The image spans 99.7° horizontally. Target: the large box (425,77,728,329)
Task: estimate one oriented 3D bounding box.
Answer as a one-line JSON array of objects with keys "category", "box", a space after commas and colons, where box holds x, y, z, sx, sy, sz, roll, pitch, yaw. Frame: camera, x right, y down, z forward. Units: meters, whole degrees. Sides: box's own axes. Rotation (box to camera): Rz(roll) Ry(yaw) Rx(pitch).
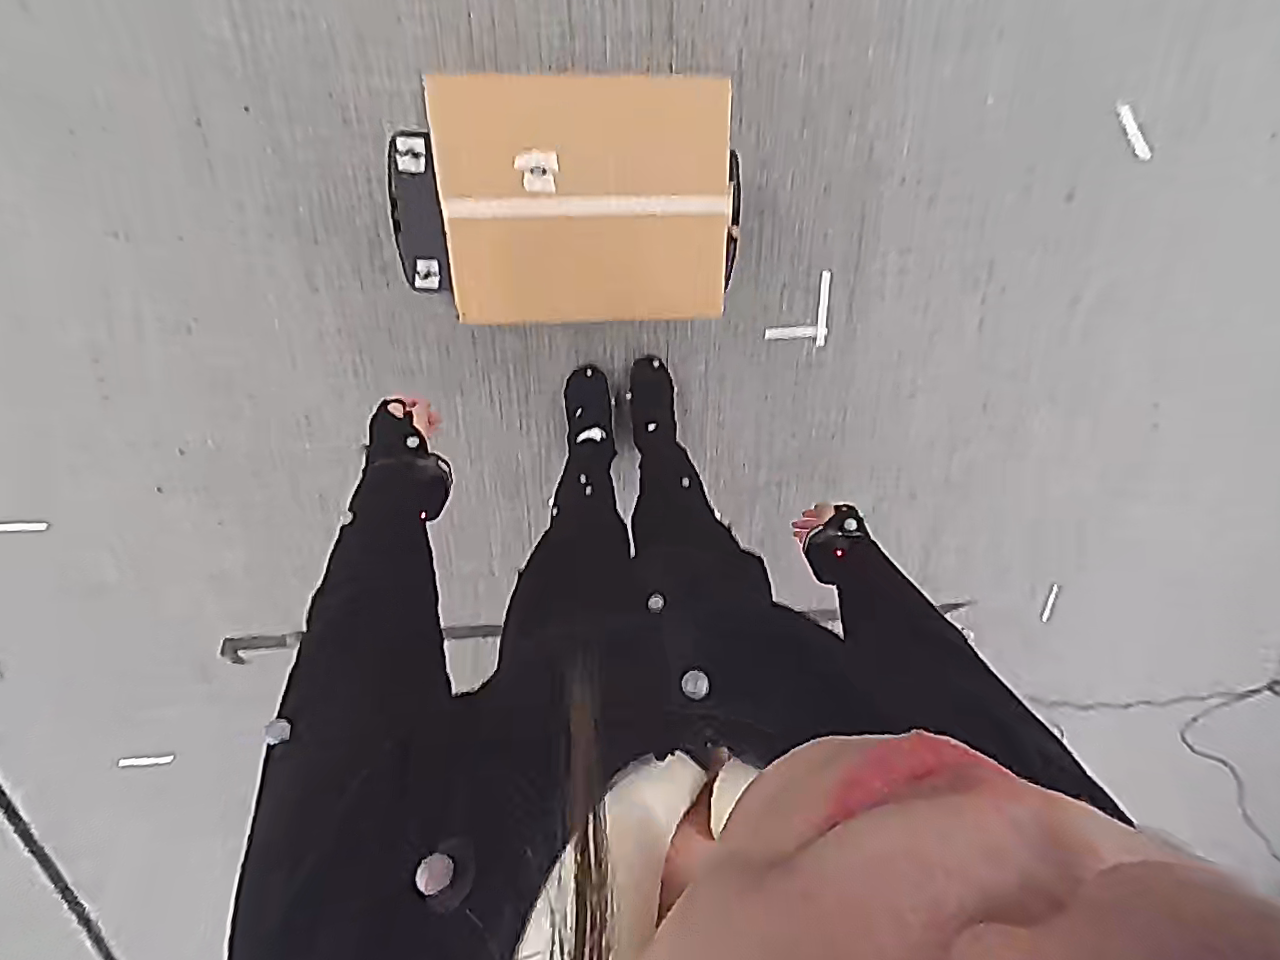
[{"category": "large box", "box": [-0.085, -0.435, 0.894, 0.408, 0.320, 0.320, -3, 112, -4]}]
